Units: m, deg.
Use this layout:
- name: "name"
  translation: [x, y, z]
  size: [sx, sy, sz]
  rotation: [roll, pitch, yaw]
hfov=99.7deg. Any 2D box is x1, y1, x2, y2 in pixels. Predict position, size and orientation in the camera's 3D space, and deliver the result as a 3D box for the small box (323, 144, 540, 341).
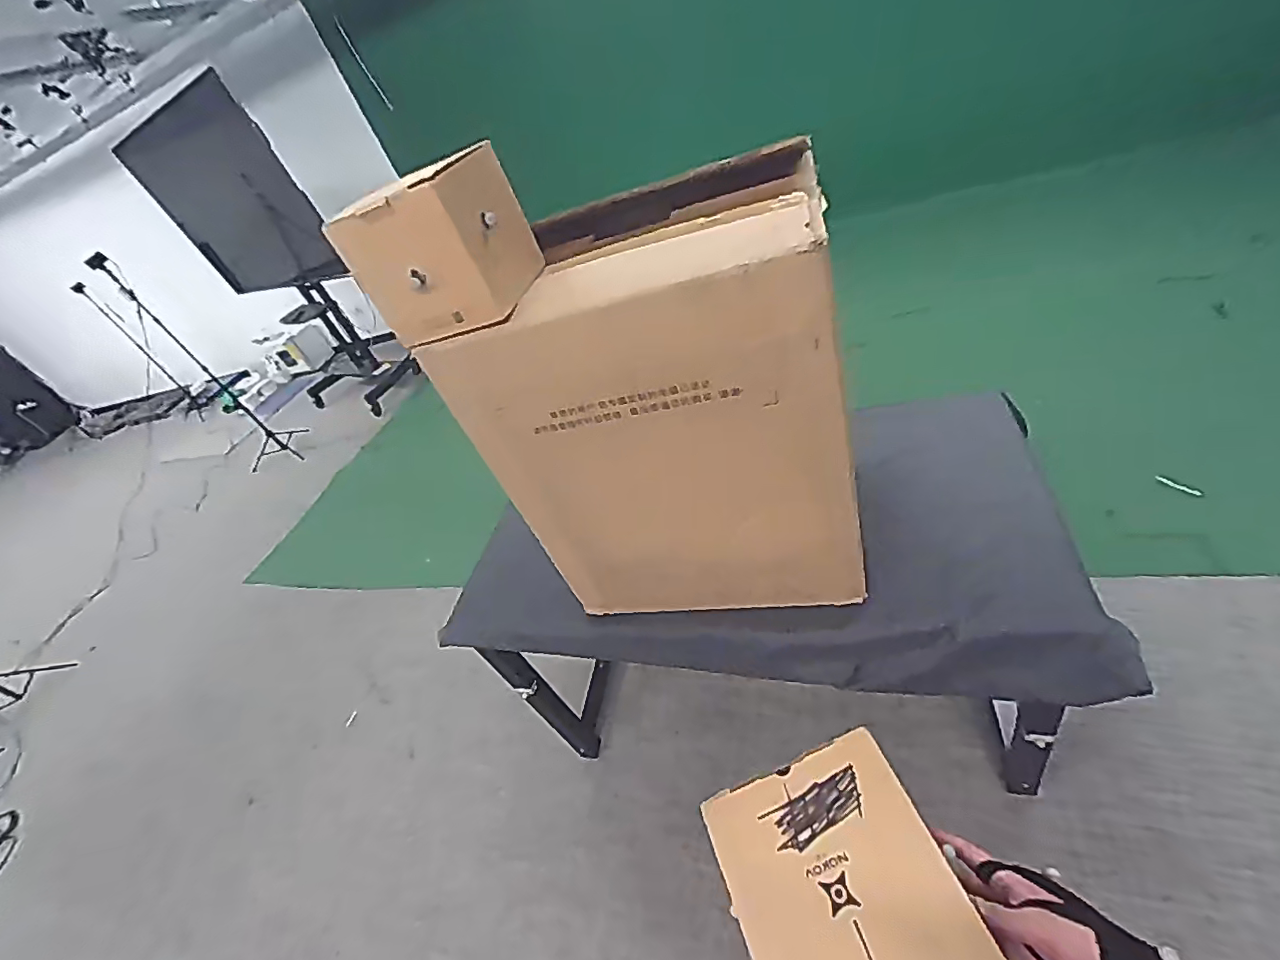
- name: "small box"
  translation: [-0.254, -0.299, 0.708]
  size: [0.168, 0.176, 0.179]
  rotation: [-8, 42, 22]
